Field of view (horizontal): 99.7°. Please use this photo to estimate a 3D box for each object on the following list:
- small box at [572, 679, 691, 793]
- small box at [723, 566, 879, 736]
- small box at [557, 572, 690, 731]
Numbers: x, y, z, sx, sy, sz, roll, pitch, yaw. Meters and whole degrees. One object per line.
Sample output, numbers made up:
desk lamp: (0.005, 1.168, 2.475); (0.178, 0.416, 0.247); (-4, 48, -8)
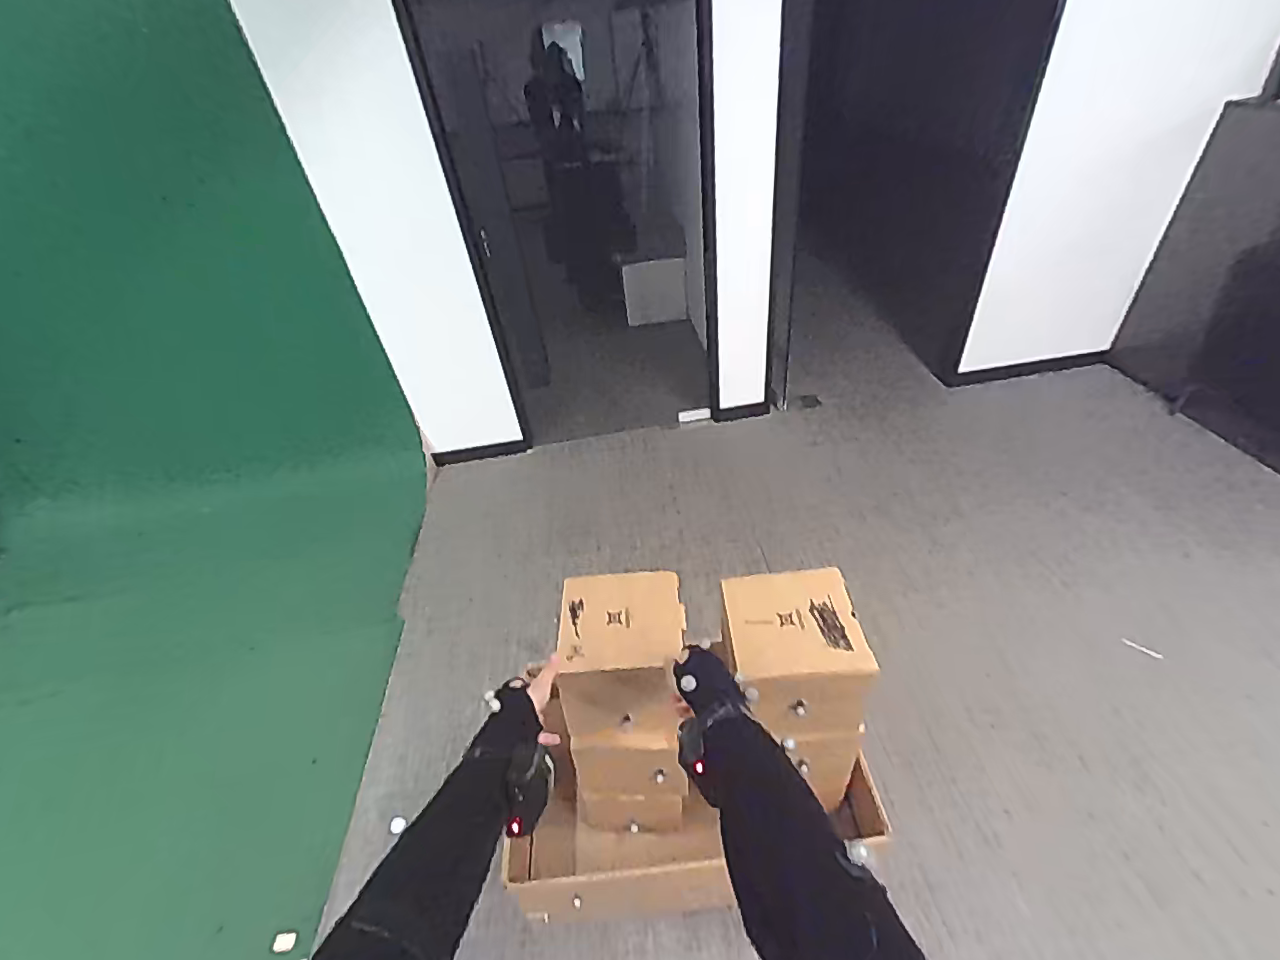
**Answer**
small box: (-0.007, 0.398, 0.896); (0.179, 0.176, 0.168); (-1, 38, 4)
small box: (0.216, 0.247, 0.779); (0.179, 0.176, 0.168); (-7, 39, 4)
small box: (-0.021, 0.257, 0.812); (0.179, 0.176, 0.168); (-2, 38, 0)
